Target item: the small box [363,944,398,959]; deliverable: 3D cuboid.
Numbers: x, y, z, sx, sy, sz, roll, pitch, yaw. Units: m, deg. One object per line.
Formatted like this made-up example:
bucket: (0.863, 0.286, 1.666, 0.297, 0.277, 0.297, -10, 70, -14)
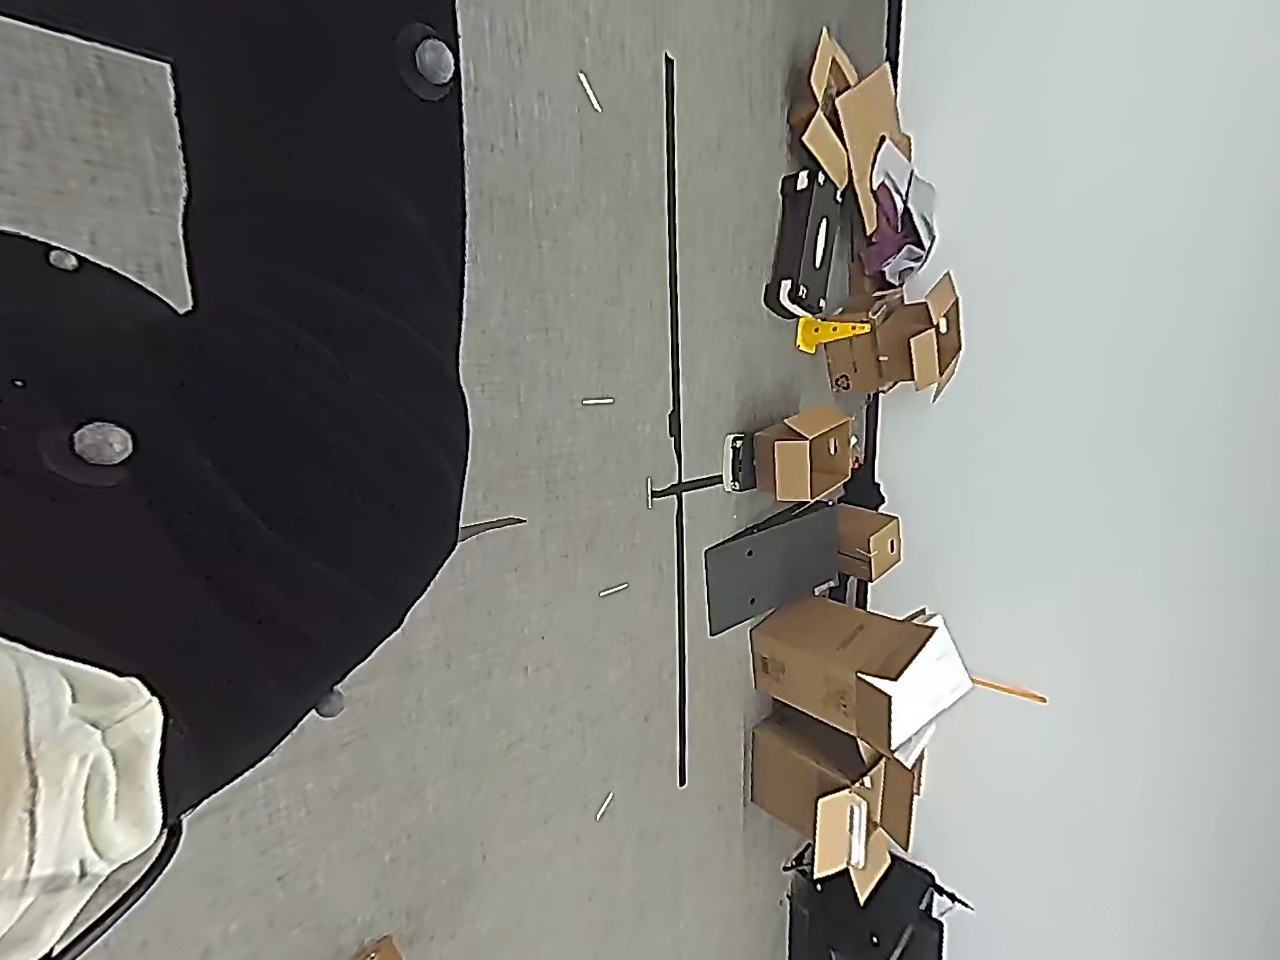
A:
small box: (-0.824, 1.622, 1.684, 0.168, 0.176, 0.179, -13, 106, -44)
